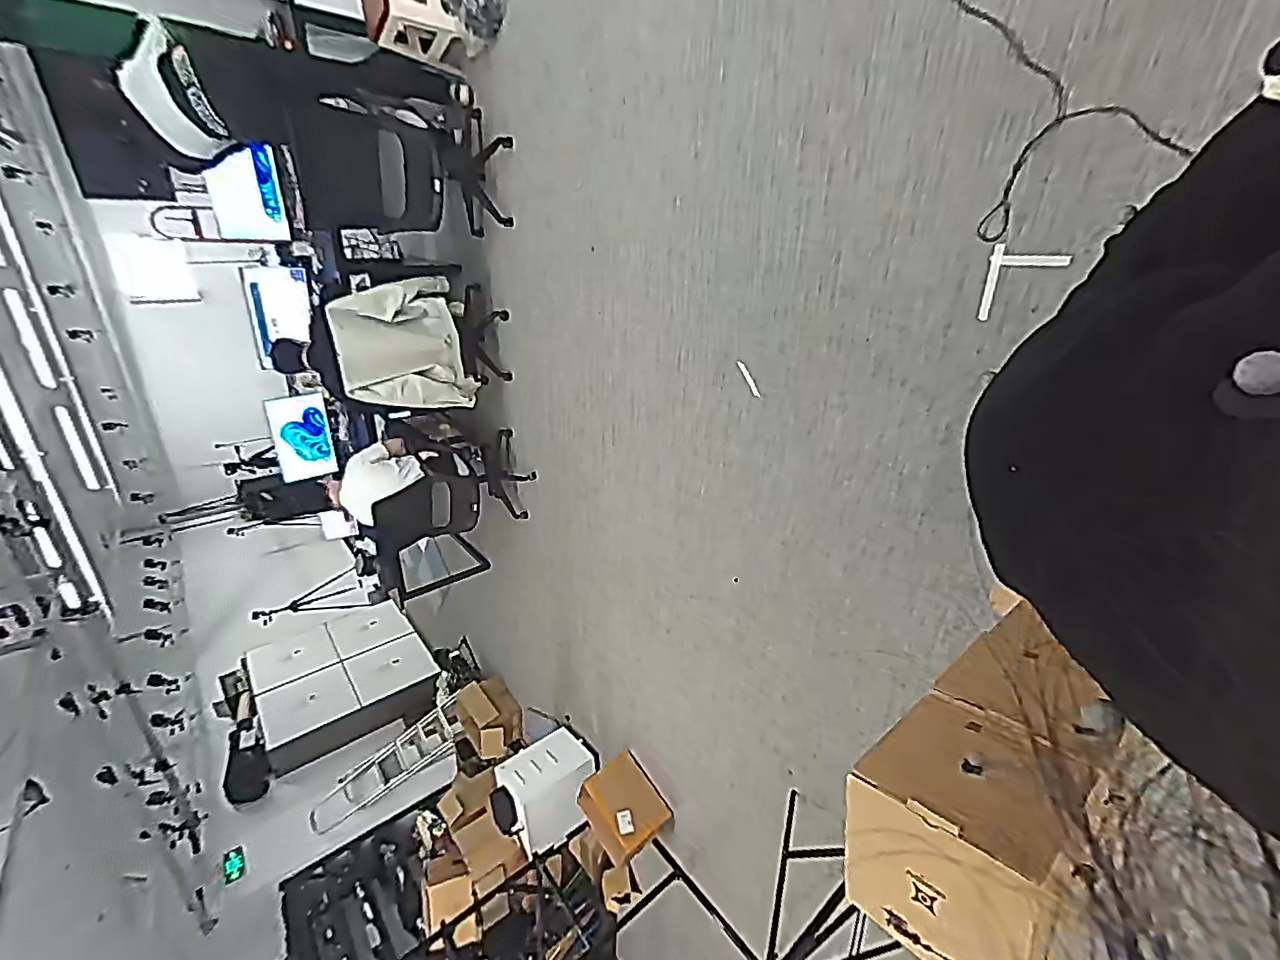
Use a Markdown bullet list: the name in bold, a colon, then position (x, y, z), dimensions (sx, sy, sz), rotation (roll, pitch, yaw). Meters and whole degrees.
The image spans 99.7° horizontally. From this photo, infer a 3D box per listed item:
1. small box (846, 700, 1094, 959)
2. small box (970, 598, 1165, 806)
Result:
- **small box**: position (0.335, 0.363, 0.555), dimensions (0.168, 0.176, 0.179), rotation (14, 114, 50)
- **small box**: position (0.588, 0.289, 0.750), dimensions (0.168, 0.176, 0.179), rotation (19, 118, 49)
